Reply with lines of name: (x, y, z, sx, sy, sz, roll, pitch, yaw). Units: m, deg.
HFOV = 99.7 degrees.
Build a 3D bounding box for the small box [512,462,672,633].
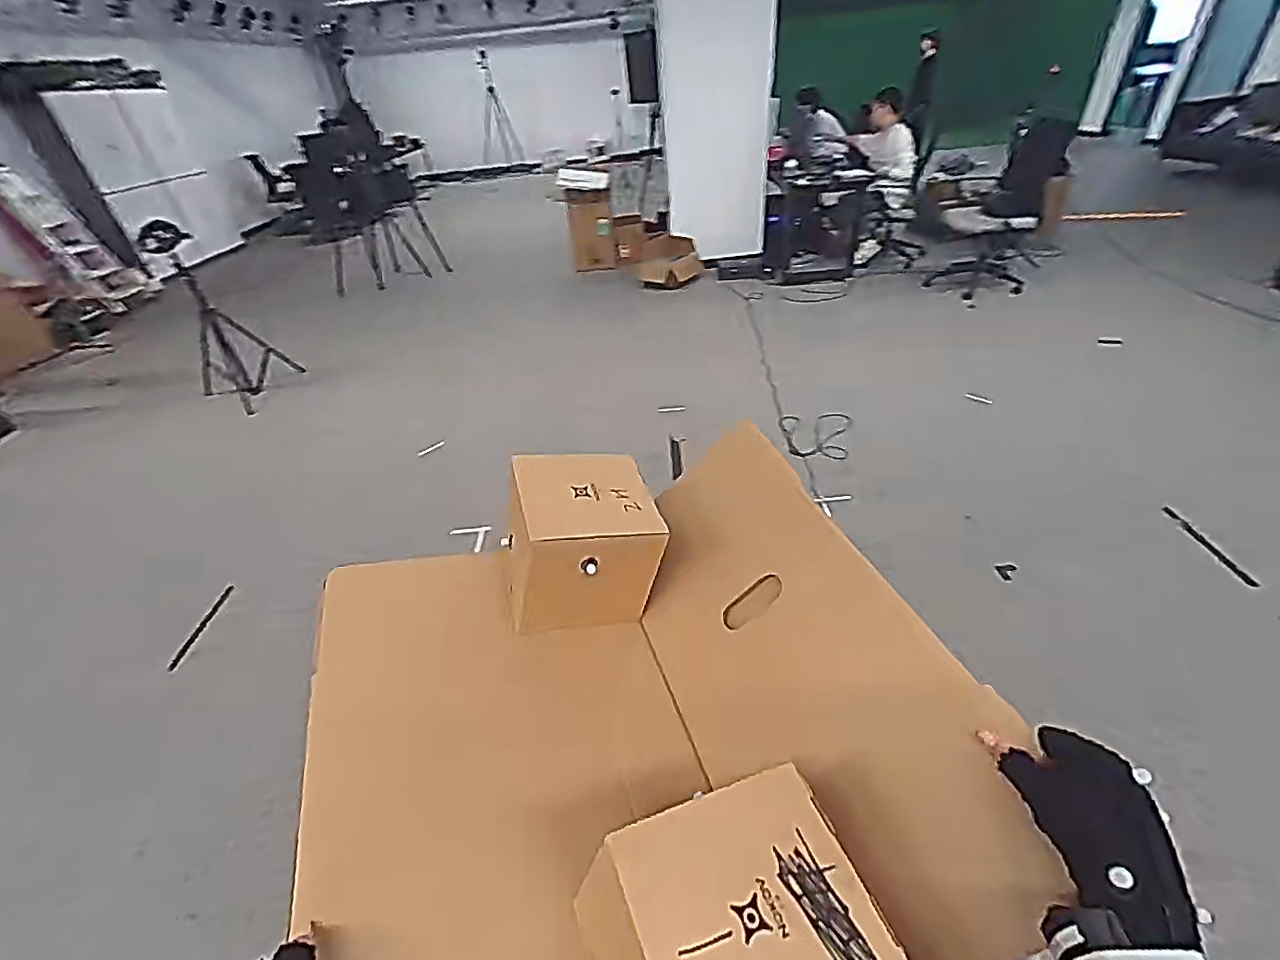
small box: (-0.079, 0.091, 0.739, 0.179, 0.176, 0.168, 0, 39, -21)
